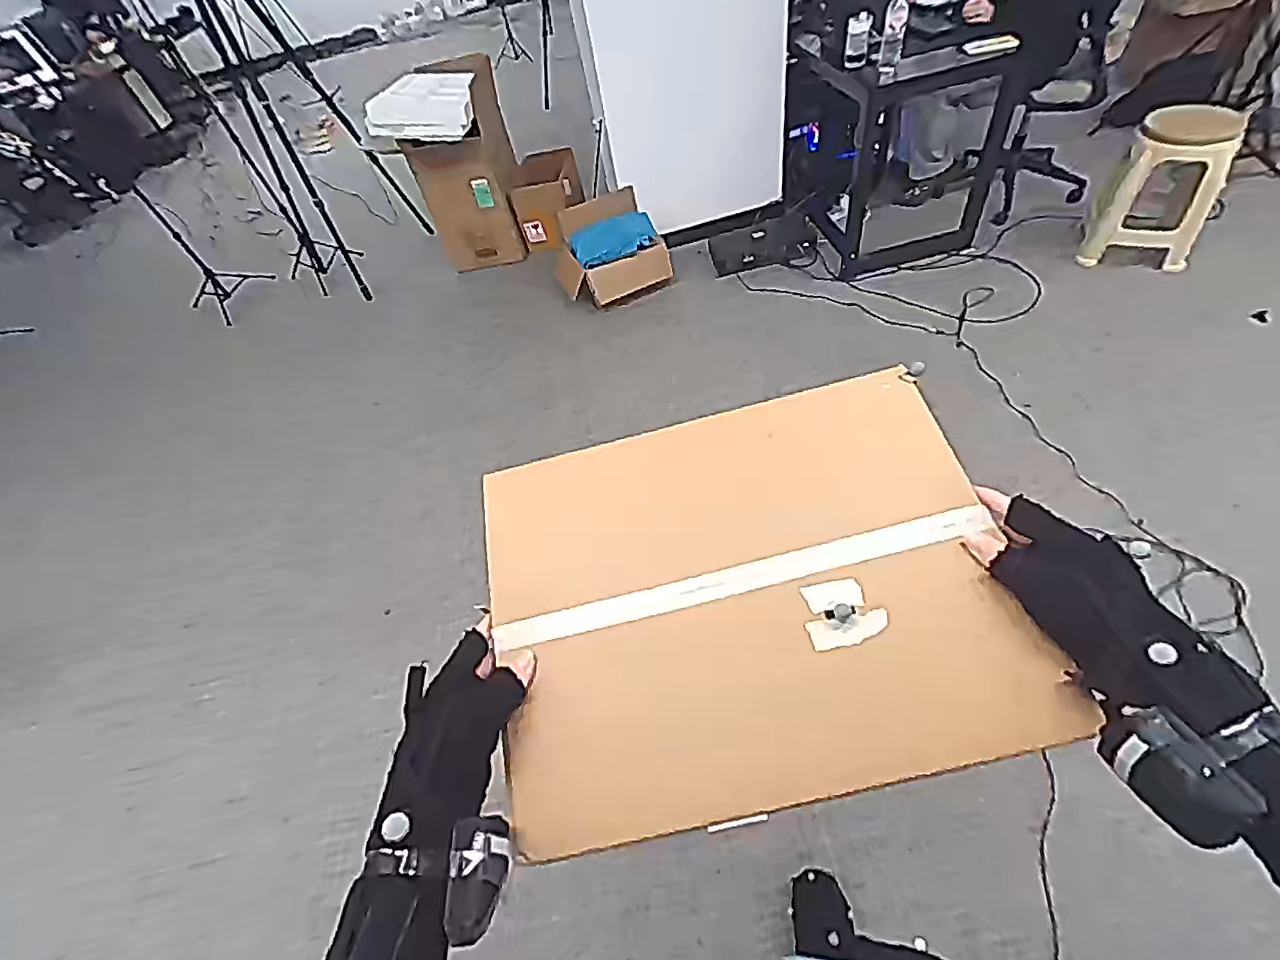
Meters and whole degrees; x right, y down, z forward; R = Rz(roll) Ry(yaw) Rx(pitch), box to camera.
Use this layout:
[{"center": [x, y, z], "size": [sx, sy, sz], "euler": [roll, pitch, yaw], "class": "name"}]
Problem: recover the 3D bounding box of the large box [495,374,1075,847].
[{"center": [0.103, 0.147, 0.580], "size": [0.408, 0.320, 0.320], "euler": [-15, 63, 2], "class": "large box"}]
